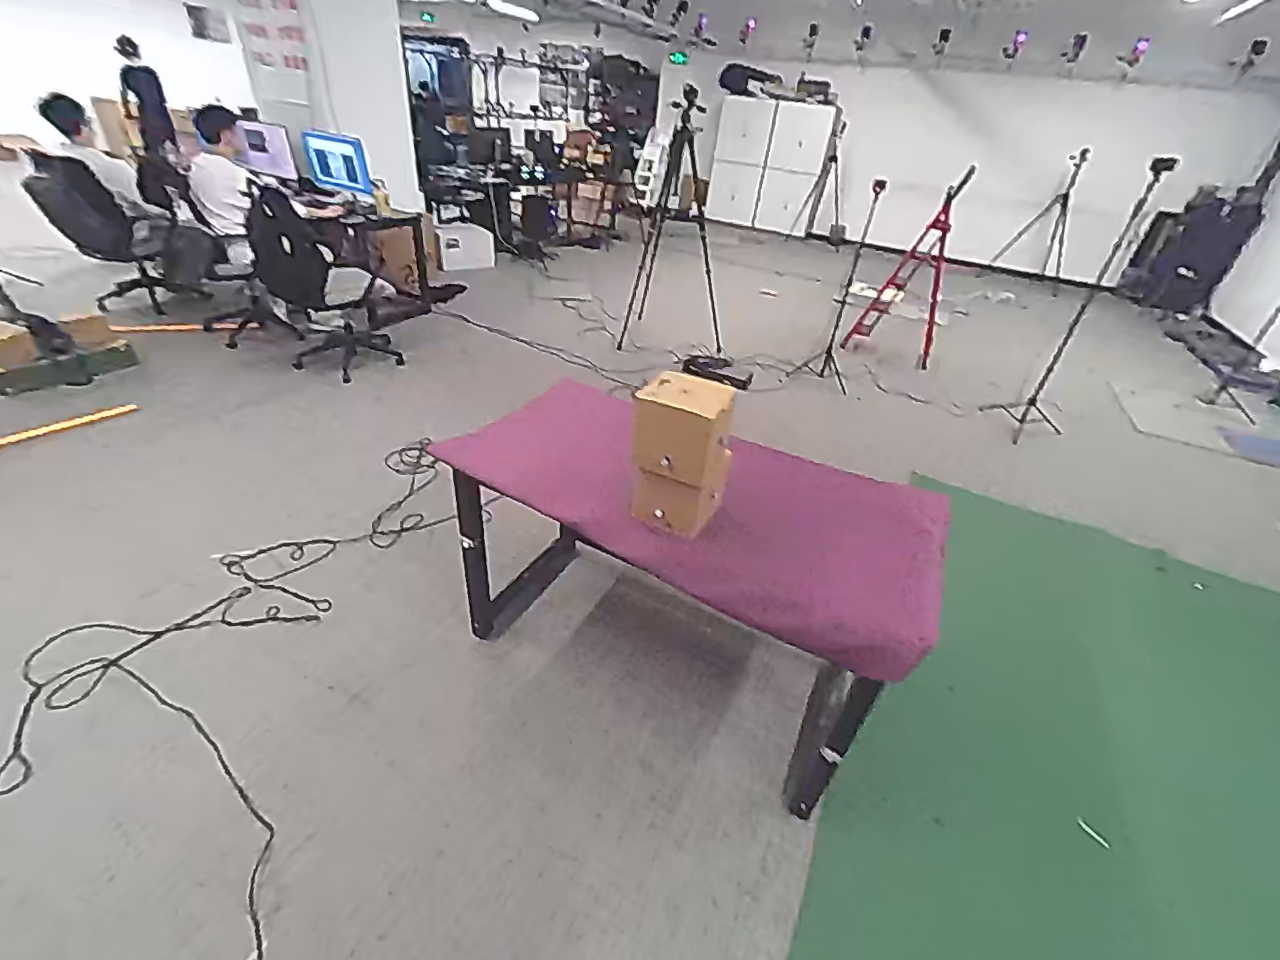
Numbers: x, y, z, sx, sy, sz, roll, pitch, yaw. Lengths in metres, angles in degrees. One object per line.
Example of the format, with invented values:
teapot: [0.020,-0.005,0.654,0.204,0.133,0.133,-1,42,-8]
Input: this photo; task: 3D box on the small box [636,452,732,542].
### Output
small box: [0.100,0.016,1.285,0.168,0.176,0.179,21,37,22]

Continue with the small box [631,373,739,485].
small box: [0.095,-0.110,1.176,0.179,0.176,0.168,20,36,19]
